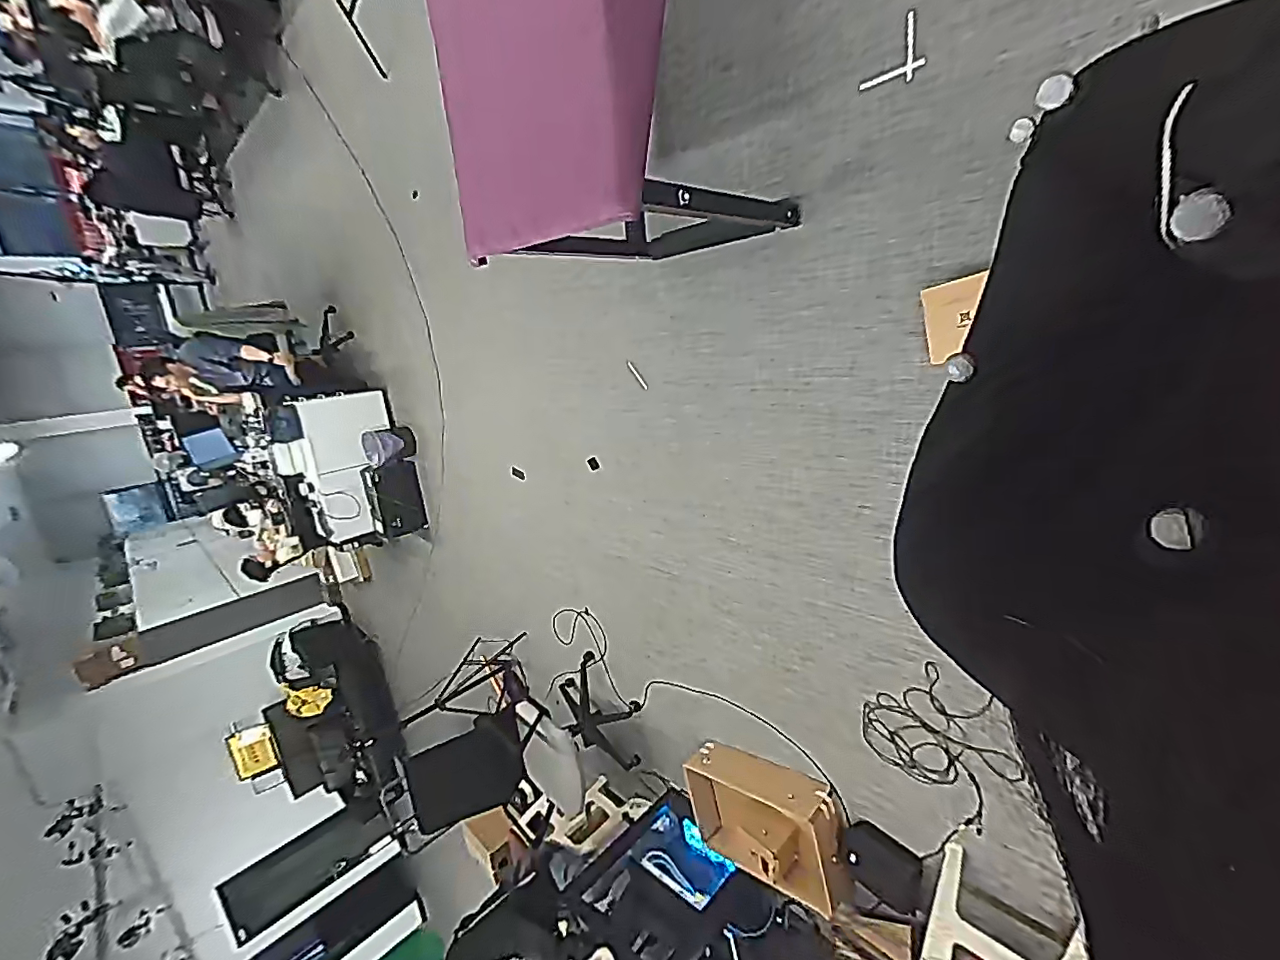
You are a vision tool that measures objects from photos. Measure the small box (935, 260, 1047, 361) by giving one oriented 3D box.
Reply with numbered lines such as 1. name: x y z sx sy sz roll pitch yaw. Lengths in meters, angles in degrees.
1. small box: 0.794 -0.380 1.220 0.168 0.176 0.179 -6 97 48
